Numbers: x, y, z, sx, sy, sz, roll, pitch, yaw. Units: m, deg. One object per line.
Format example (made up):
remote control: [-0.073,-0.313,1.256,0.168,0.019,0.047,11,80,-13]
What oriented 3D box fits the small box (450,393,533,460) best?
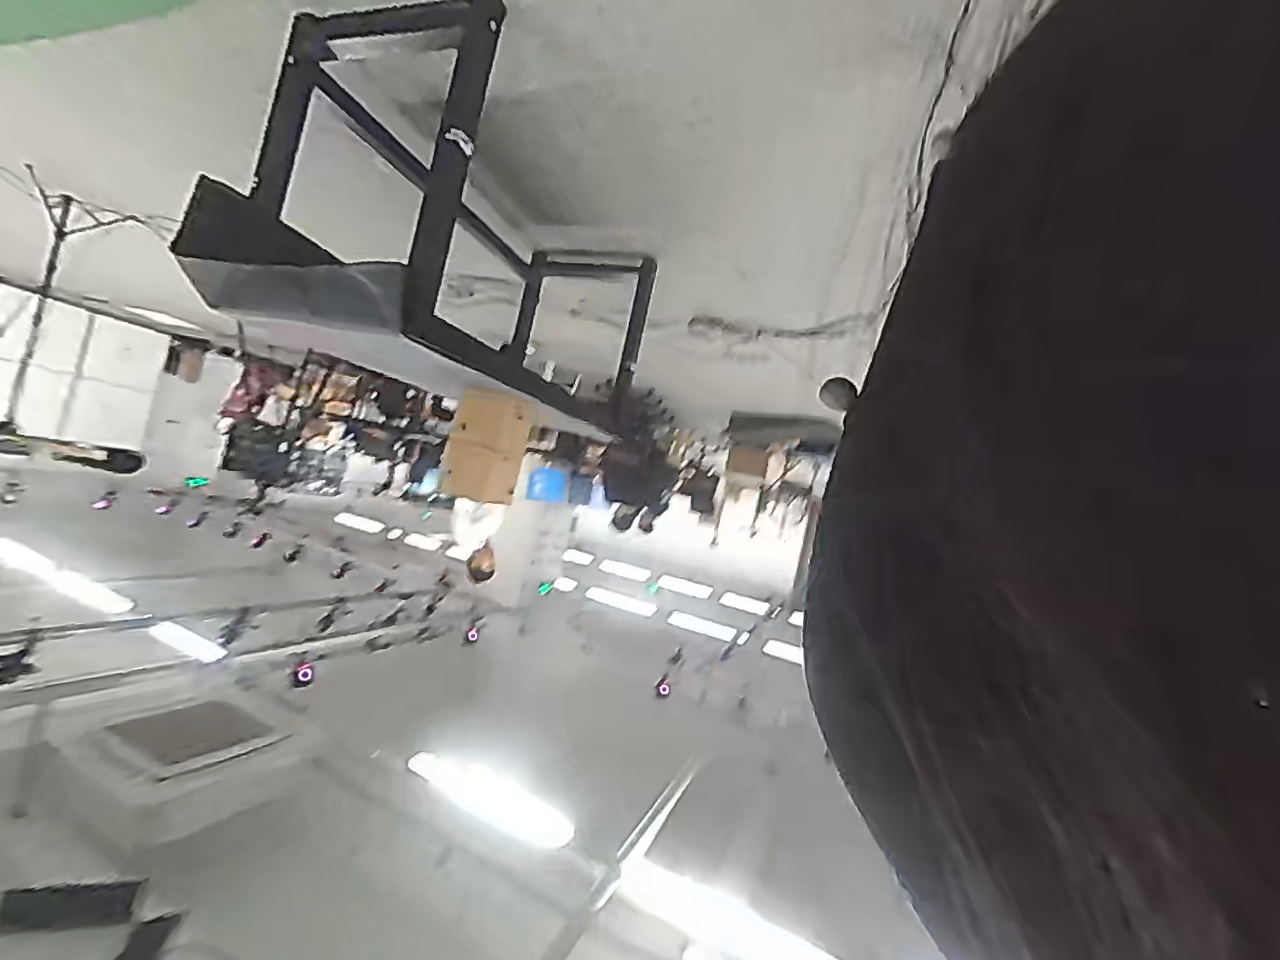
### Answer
small box: [-0.460,-0.169,1.697,0.179,0.176,0.168,11,178,21]
